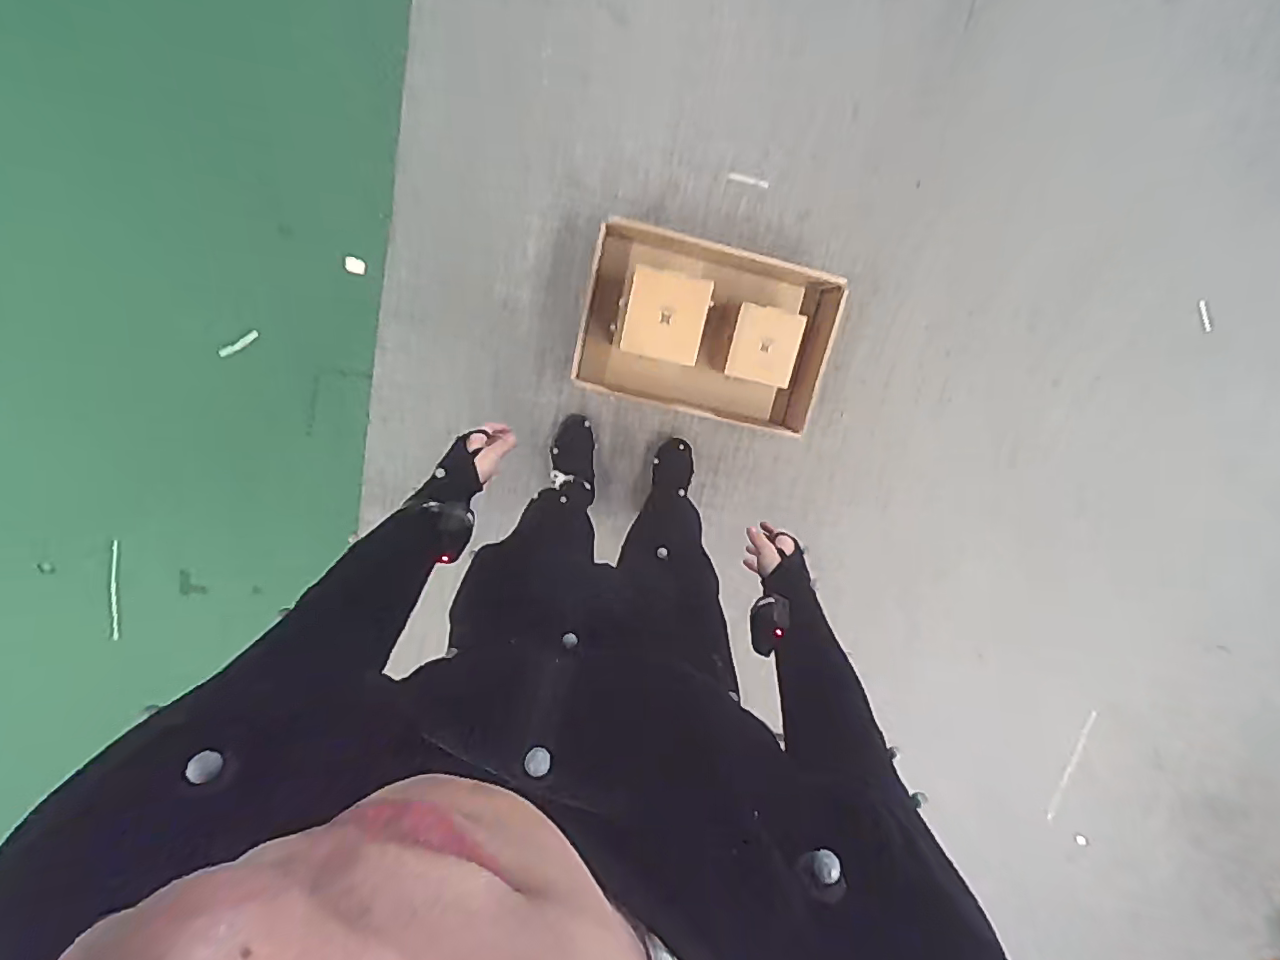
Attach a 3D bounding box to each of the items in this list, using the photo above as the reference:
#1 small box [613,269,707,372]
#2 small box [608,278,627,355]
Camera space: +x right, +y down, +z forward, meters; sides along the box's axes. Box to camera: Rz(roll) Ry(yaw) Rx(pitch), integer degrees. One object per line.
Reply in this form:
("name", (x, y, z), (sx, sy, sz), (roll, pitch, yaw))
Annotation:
("small box", (0.036, -0.344, 1.186), (0.168, 0.176, 0.179), (11, 102, -8))
("small box", (0.017, -0.383, 1.343), (0.168, 0.176, 0.179), (11, 102, -9))
